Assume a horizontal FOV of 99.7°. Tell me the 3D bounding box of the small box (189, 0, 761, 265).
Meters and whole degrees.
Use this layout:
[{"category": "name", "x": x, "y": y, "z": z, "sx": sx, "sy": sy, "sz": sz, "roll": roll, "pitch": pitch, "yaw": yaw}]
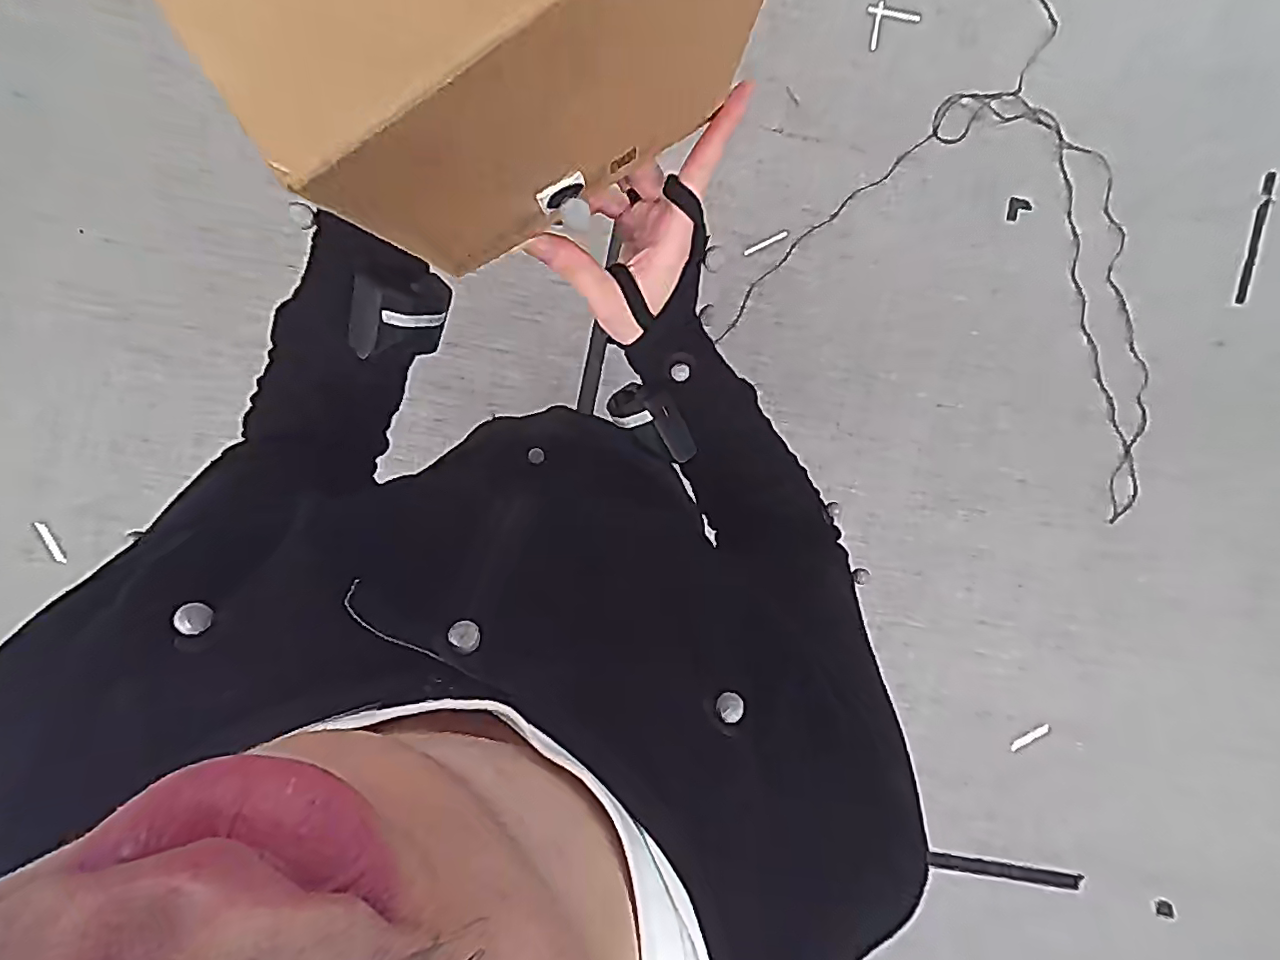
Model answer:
[{"category": "small box", "x": -0.068, "y": -0.211, "z": 0.207, "sx": 0.168, "sy": 0.176, "sz": 0.179, "roll": -31, "pitch": 102, "yaw": 6}]
